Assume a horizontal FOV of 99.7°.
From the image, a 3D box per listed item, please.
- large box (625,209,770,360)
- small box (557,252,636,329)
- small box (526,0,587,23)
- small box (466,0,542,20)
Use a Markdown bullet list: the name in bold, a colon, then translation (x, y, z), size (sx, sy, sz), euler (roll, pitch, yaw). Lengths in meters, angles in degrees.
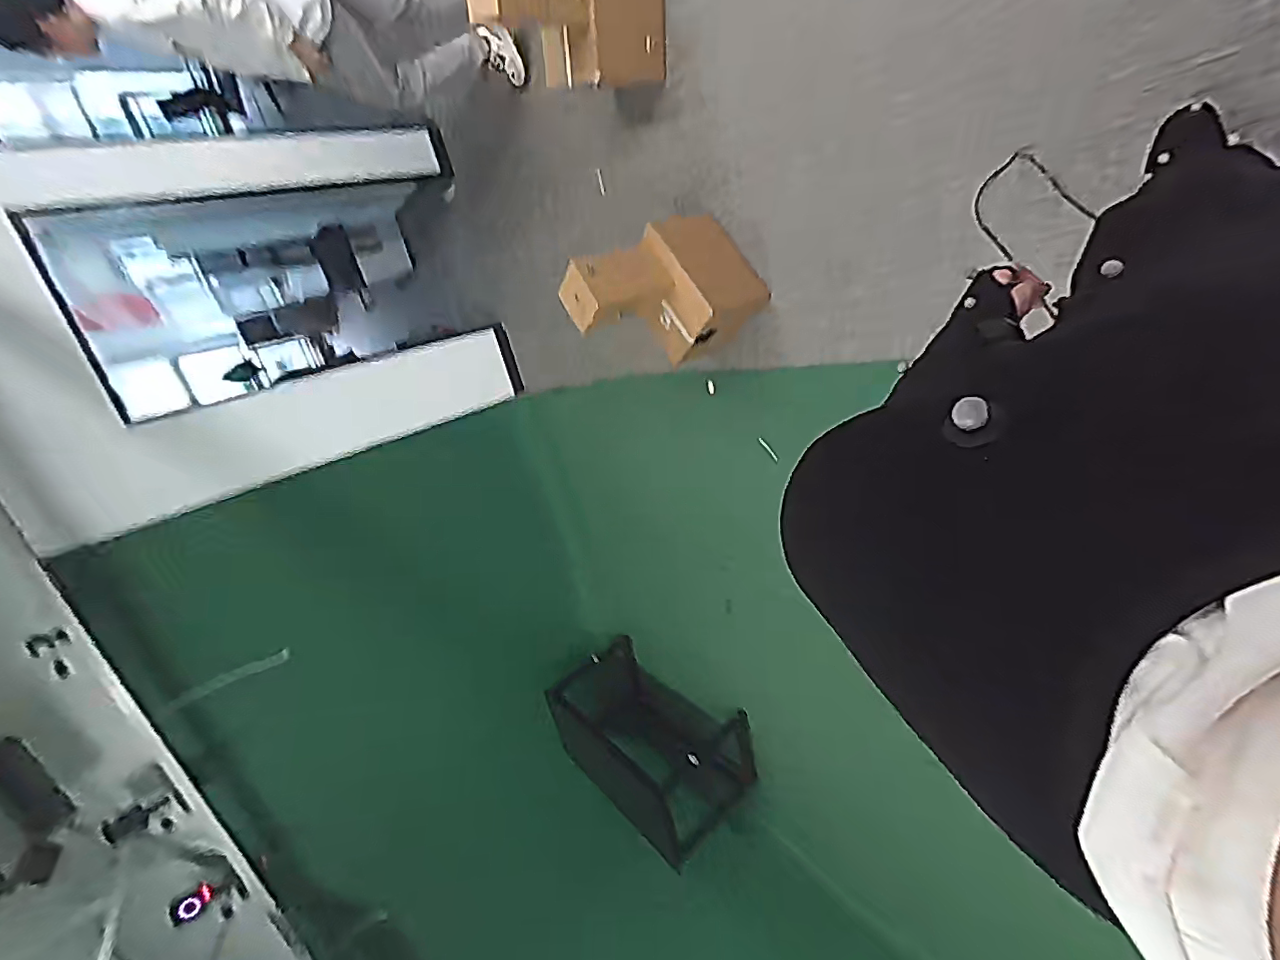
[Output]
- **large box**: translation (0.196, -0.731, 2.017), size (0.408, 0.320, 0.320), euler (56, 148, 8)
- **small box**: translation (-0.144, -0.635, 1.798), size (0.179, 0.176, 0.168), euler (59, 148, 5)
- **small box**: translation (-0.281, -1.523, 1.659), size (0.179, 0.176, 0.168), euler (31, 136, 37)
- **small box**: translation (-0.398, -1.455, 1.567), size (0.179, 0.176, 0.168), euler (30, 135, 39)
